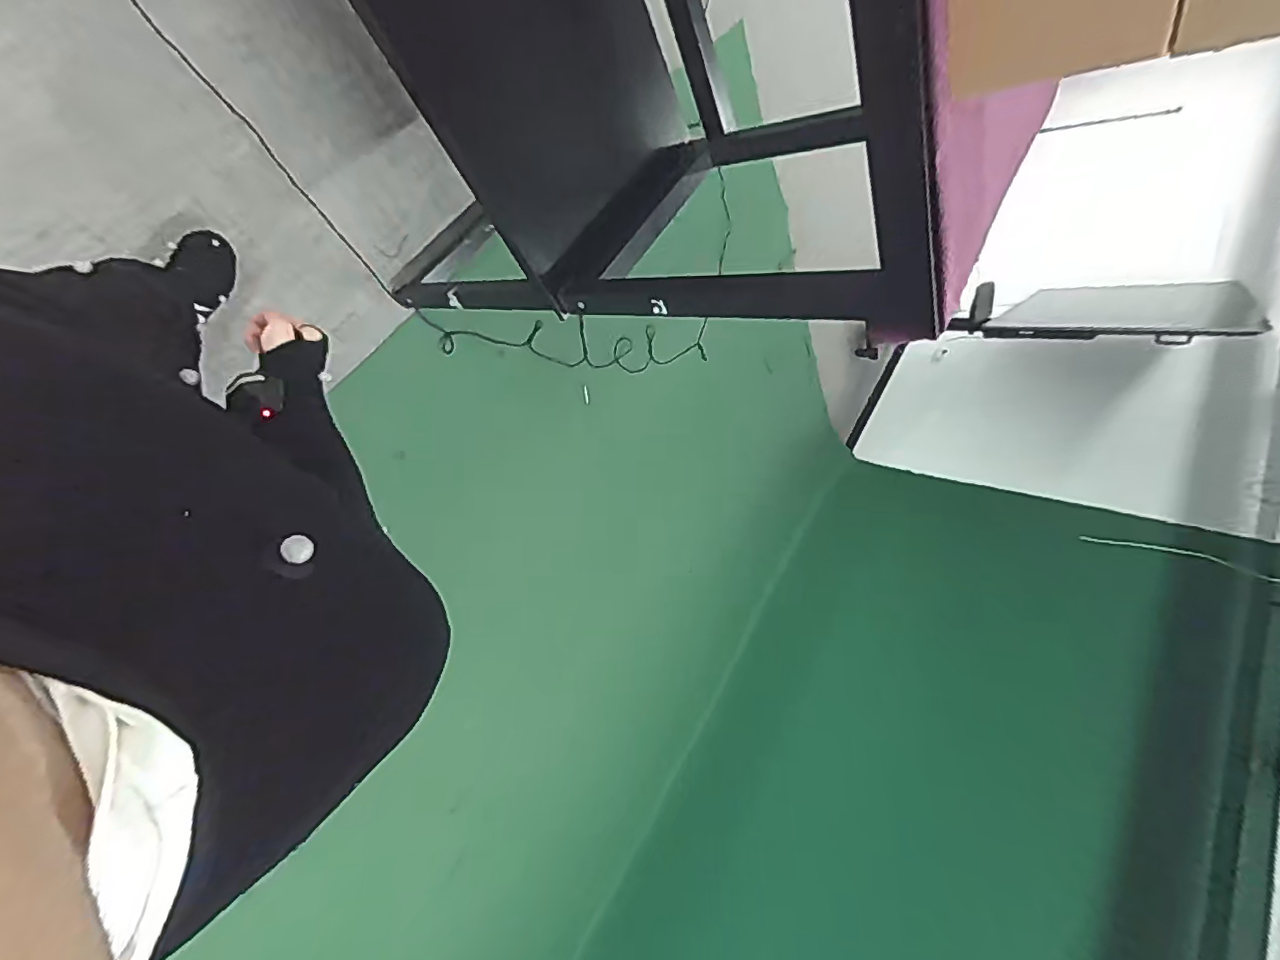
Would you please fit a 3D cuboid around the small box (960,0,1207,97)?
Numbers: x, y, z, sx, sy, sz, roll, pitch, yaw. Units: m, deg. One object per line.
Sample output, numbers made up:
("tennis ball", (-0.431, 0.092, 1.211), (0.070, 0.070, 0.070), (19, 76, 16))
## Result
("small box", (0.387, -0.473, 0.459), (0.168, 0.176, 0.179), (-55, 136, -21))
